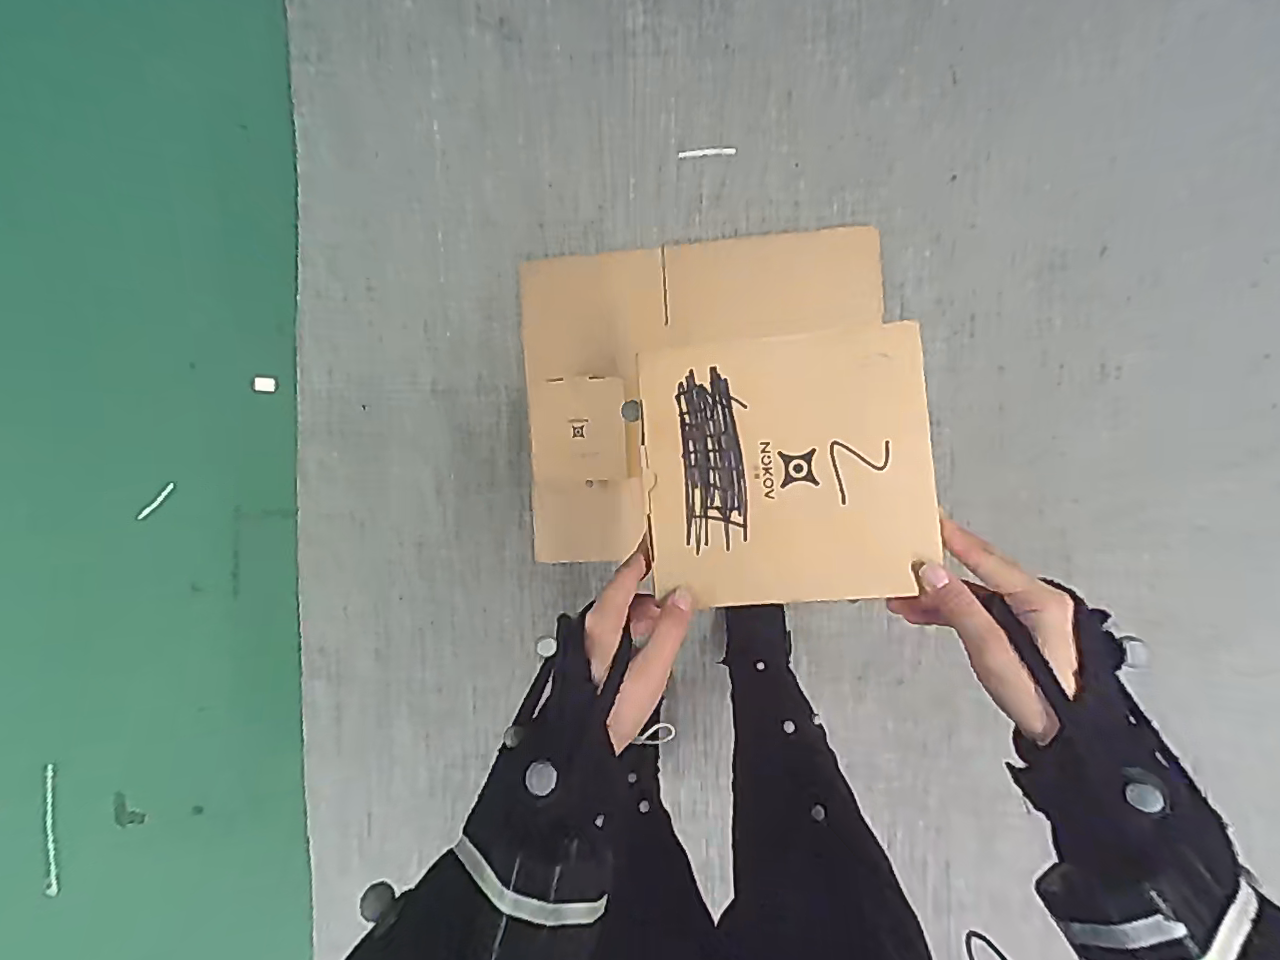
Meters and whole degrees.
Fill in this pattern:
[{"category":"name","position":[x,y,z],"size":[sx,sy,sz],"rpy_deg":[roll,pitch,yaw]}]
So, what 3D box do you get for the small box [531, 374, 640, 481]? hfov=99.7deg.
[{"category":"small box","position":[-0.093,-0.090,0.990],"size":[0.168,0.176,0.179],"rpy_deg":[-2,93,8]}]
